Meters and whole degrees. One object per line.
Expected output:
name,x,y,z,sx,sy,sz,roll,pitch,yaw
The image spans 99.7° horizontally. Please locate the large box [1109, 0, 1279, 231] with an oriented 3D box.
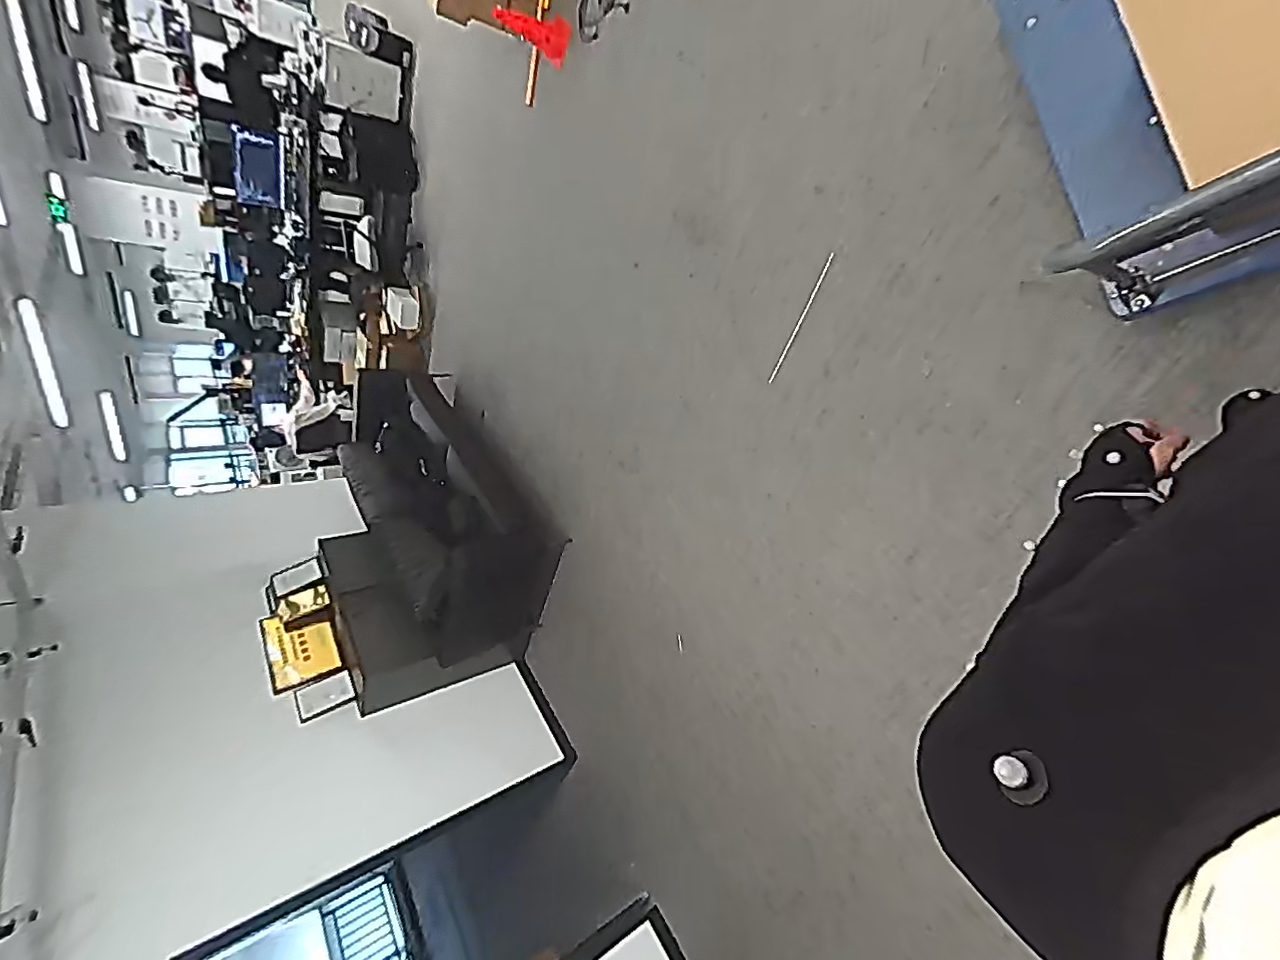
large box,1.011,-0.675,0.833,0.320,0.320,0.408,-22,78,49
